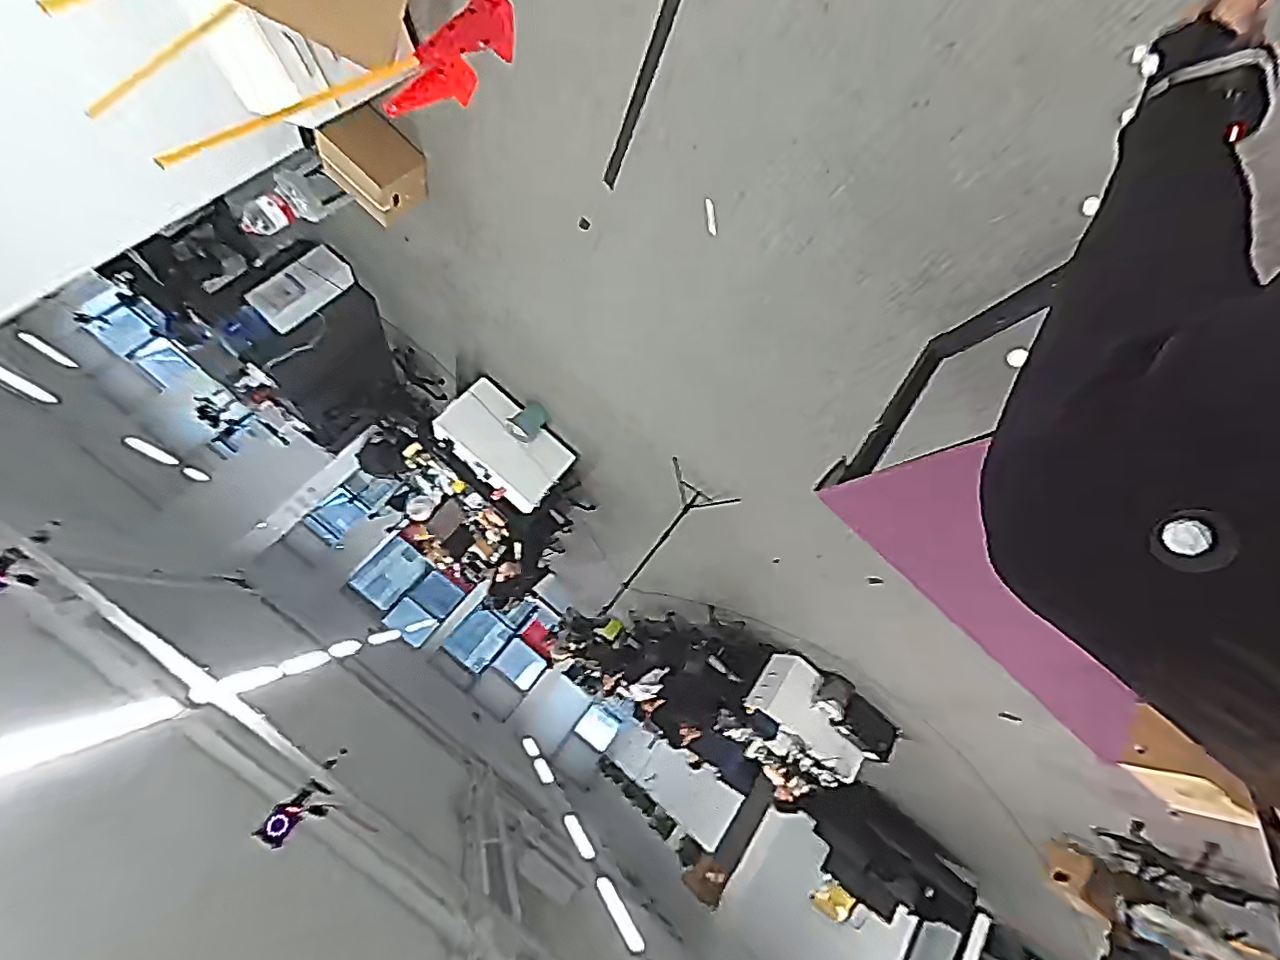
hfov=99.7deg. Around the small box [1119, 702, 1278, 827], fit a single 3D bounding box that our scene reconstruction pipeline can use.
[{"bbox_3d":[1.243,0.620,1.206,0.168,0.176,0.179,39,158,2],"label":"small box"}]
